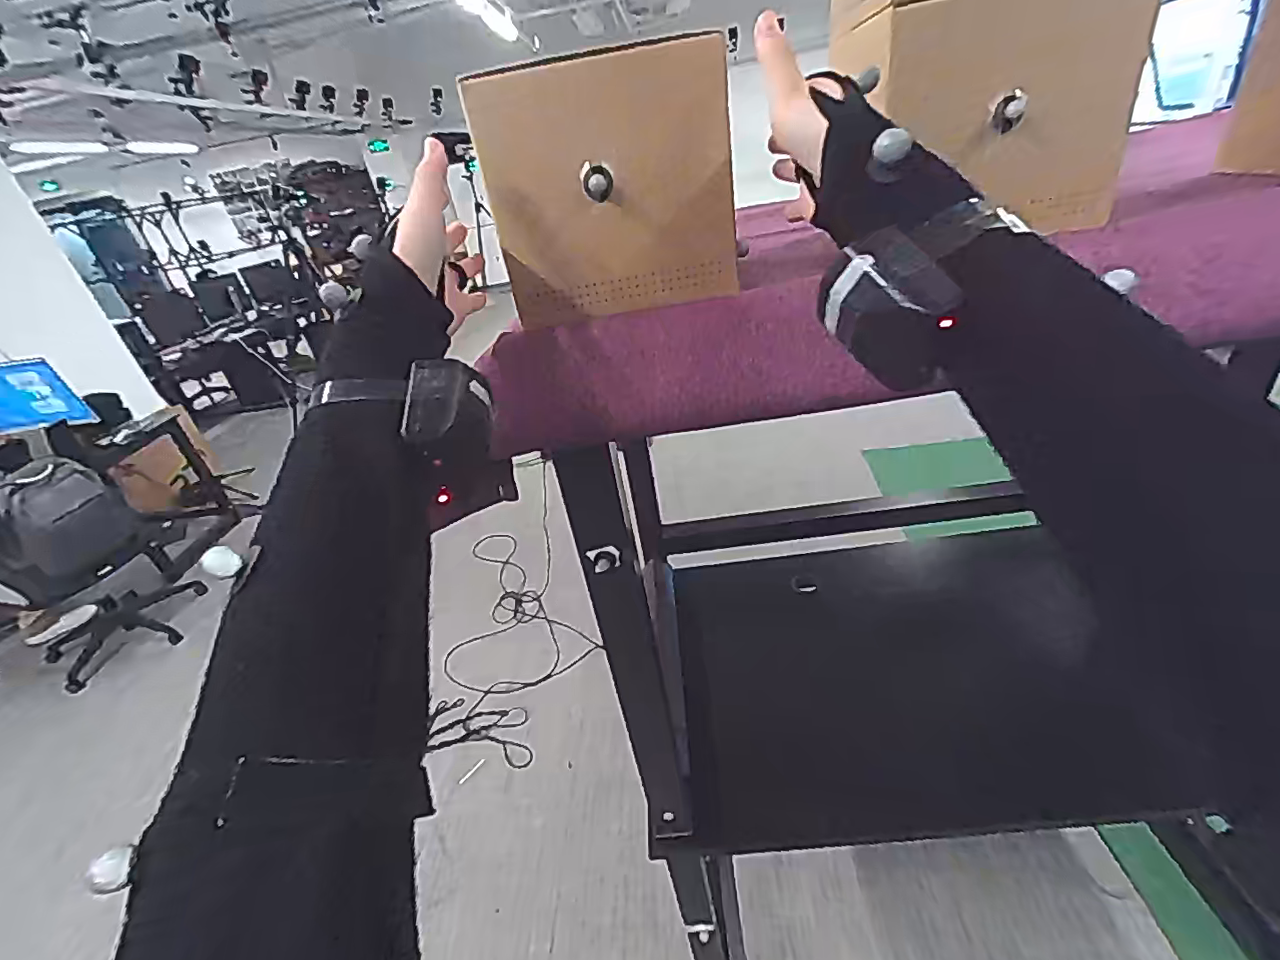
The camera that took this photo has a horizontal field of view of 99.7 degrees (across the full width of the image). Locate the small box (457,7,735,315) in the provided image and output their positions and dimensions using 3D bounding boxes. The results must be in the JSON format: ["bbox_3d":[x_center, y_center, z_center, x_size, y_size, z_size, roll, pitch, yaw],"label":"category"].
[{"bbox_3d":[-0.021,-0.249,0.444,0.179,0.176,0.168,-9,31,2],"label":"small box"}]

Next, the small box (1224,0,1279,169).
[{"bbox_3d":[0.627,-0.344,0.409,0.168,0.176,0.179,-5,30,10],"label":"small box"}]

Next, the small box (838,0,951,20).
[{"bbox_3d":[0.245,-0.447,0.370,0.179,0.176,0.168,-7,31,8],"label":"small box"}]
